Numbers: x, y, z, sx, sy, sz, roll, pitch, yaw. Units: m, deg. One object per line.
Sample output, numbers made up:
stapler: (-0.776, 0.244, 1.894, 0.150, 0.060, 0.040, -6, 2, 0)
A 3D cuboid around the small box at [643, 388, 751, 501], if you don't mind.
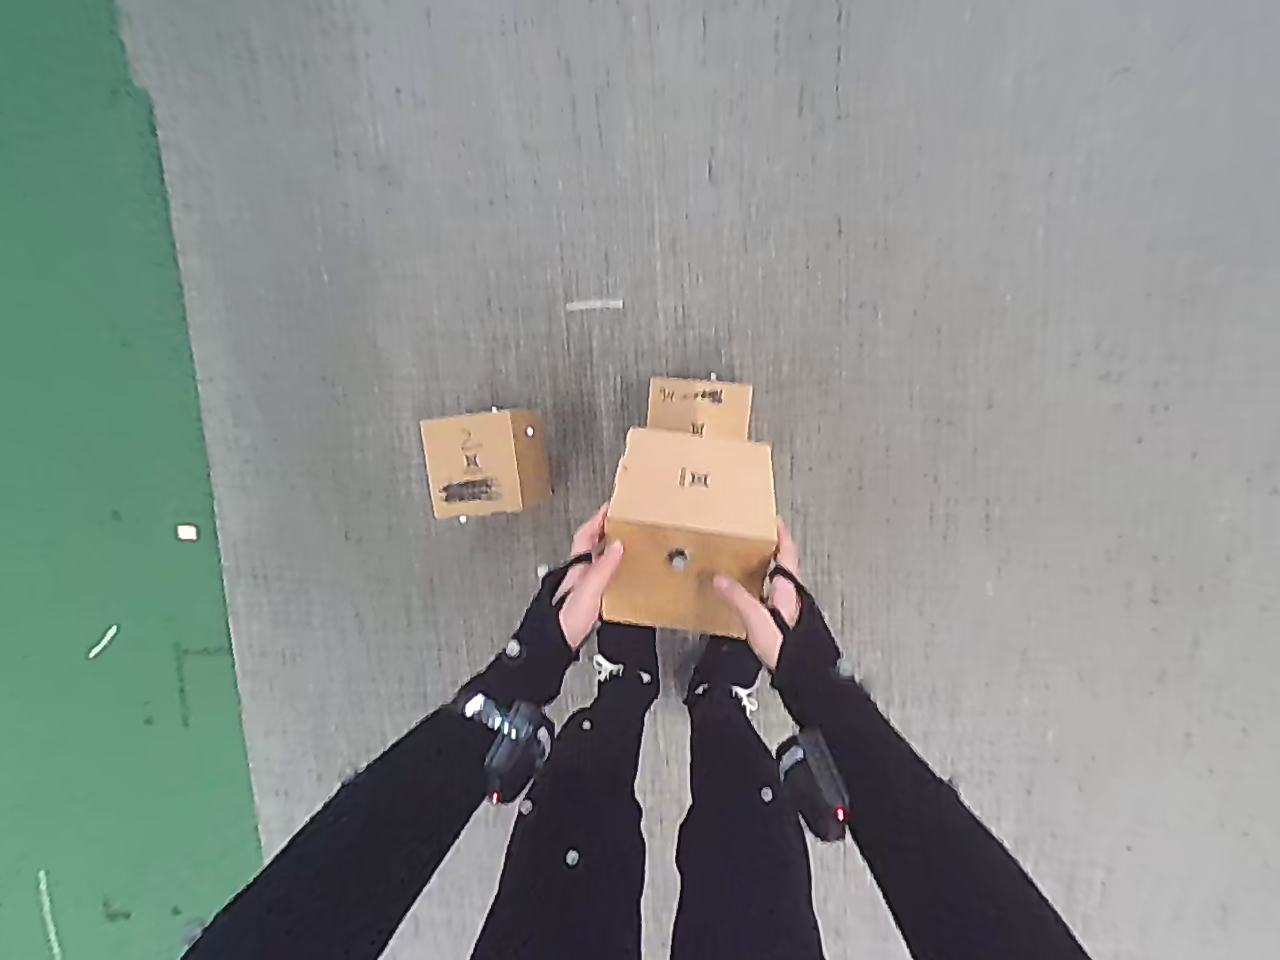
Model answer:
small box: (0.102, -0.068, 0.958, 0.168, 0.176, 0.179, 5, 98, 7)
